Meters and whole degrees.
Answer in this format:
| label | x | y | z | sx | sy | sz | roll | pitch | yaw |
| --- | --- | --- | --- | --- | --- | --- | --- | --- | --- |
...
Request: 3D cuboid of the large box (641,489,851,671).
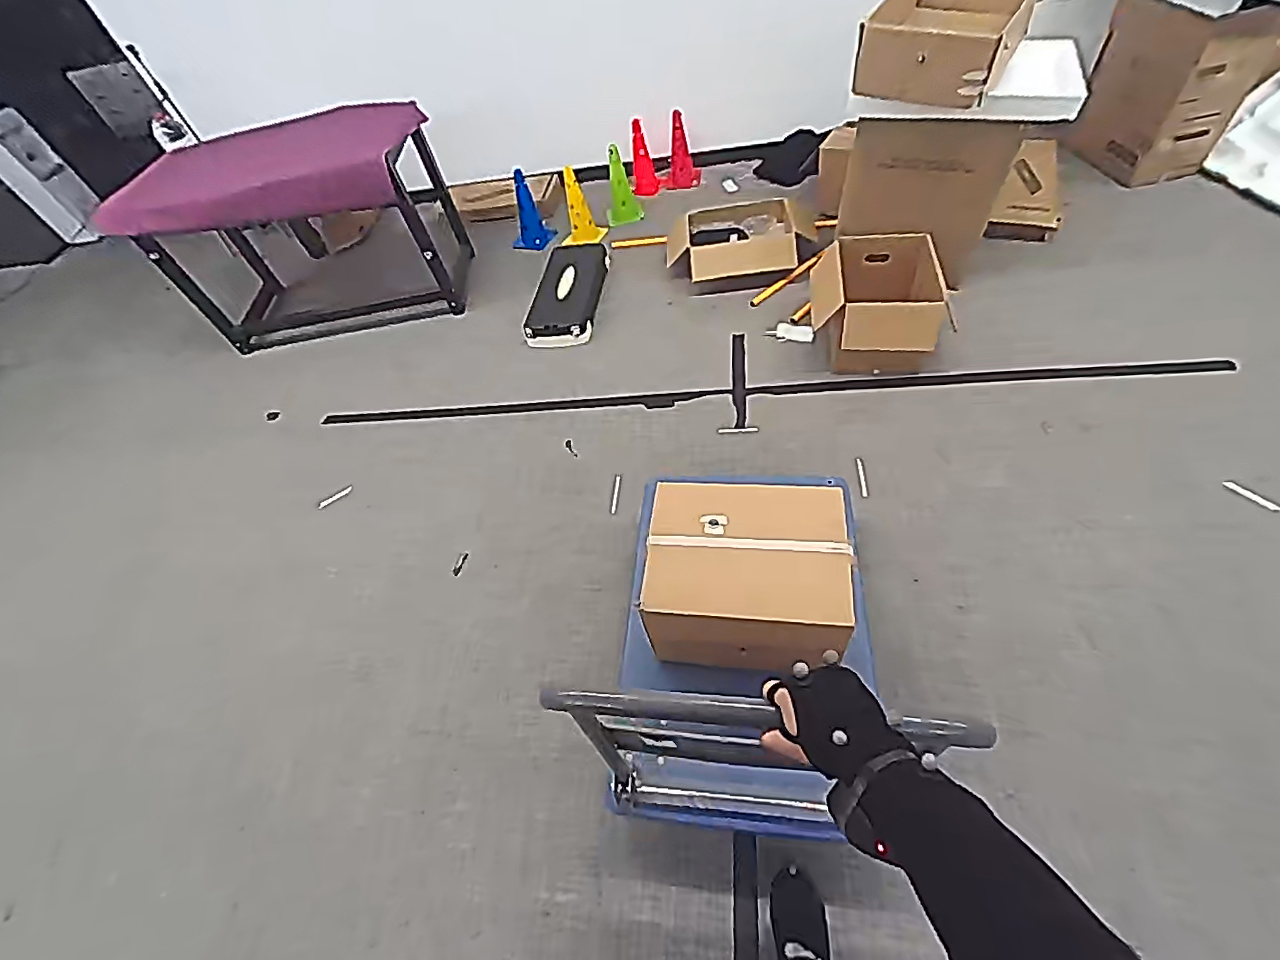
| label | x | y | z | sx | sy | sz | roll | pitch | yaw |
| --- | --- | --- | --- | --- | --- | --- | --- | --- | --- |
| large box | 0.240 | 0.231 | 1.240 | 0.408 | 0.320 | 0.320 | 1 | 53 | 12 |
